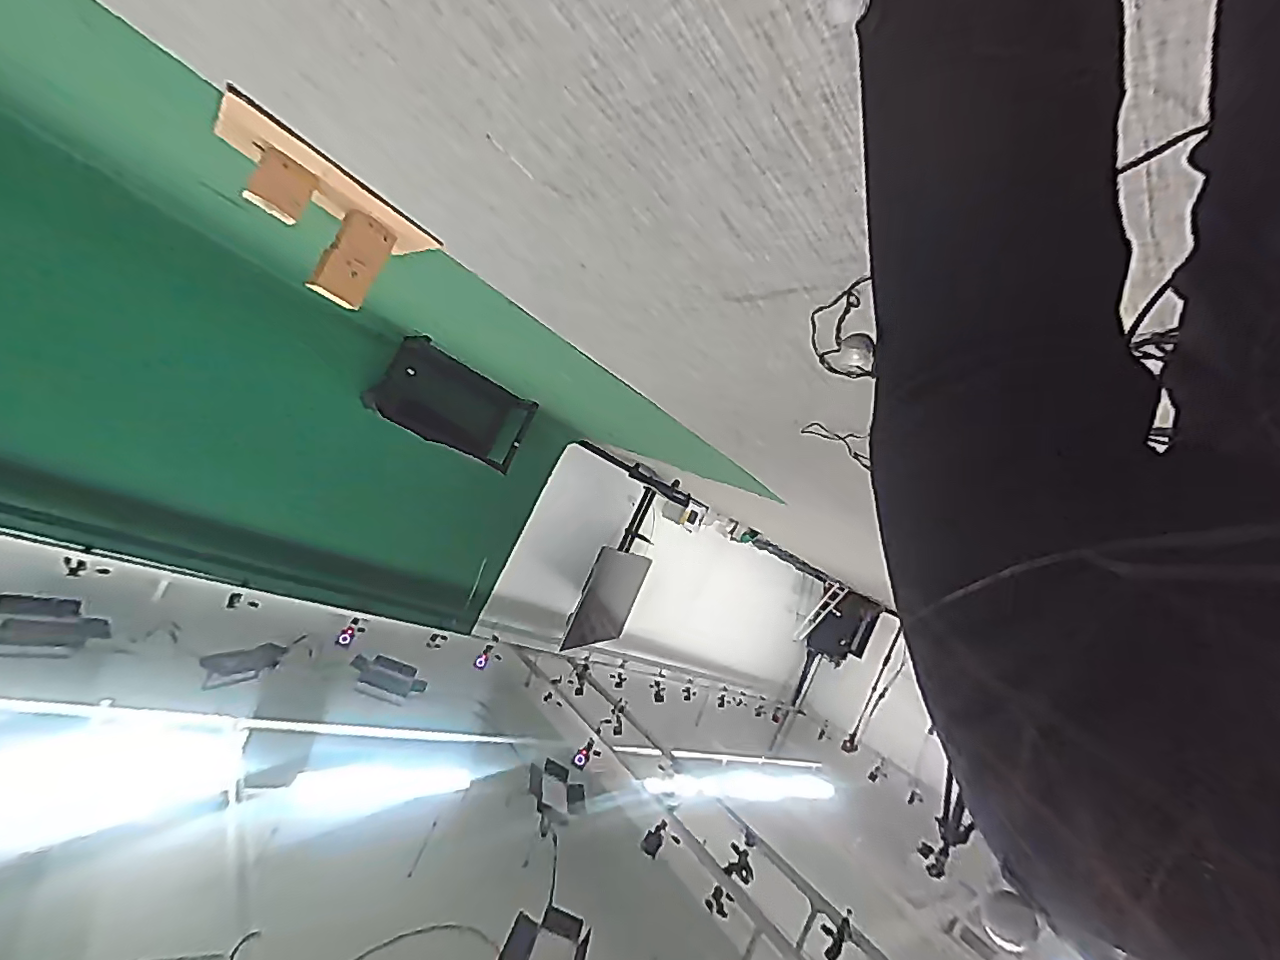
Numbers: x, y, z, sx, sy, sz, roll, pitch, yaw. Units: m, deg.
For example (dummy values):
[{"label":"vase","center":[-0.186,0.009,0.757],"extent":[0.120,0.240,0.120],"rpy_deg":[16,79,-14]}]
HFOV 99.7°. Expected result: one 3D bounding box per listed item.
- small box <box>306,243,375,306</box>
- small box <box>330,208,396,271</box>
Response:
[{"label":"small box","center":[-1.180,-0.813,2.136],"extent":[0.179,0.176,0.168],"rpy_deg":[22,174,45]},{"label":"small box","center":[-1.096,-0.952,2.142],"extent":[0.179,0.176,0.168],"rpy_deg":[24,176,46]}]
